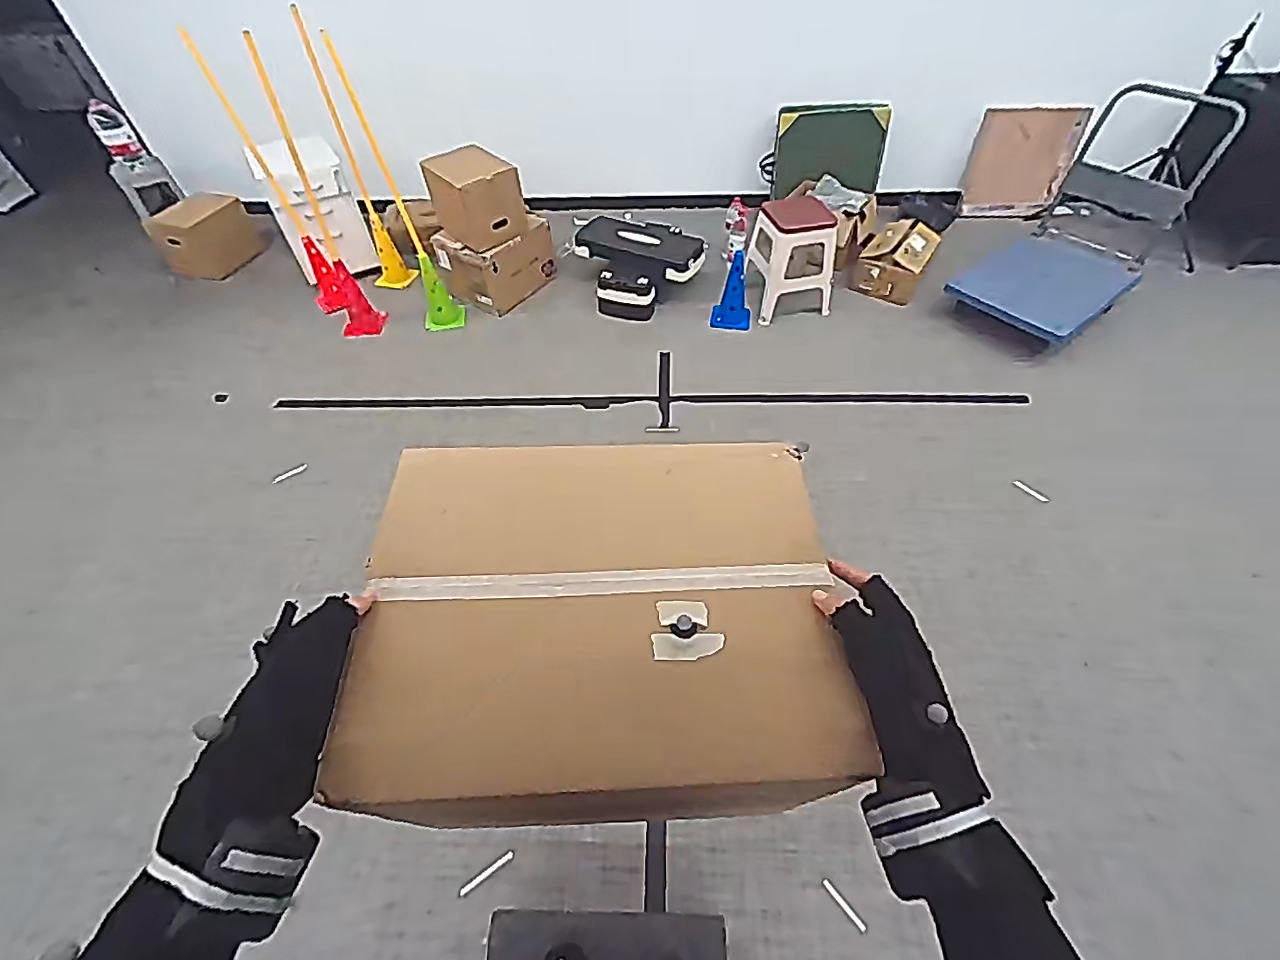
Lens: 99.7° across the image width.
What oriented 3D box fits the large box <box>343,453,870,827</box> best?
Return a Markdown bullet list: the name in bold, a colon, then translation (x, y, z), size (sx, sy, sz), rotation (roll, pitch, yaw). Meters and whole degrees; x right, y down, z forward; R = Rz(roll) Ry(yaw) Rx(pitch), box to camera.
- **large box**: translation (-0.034, 0.186, 0.608), size (0.408, 0.320, 0.320), rotation (-1, 54, -3)
